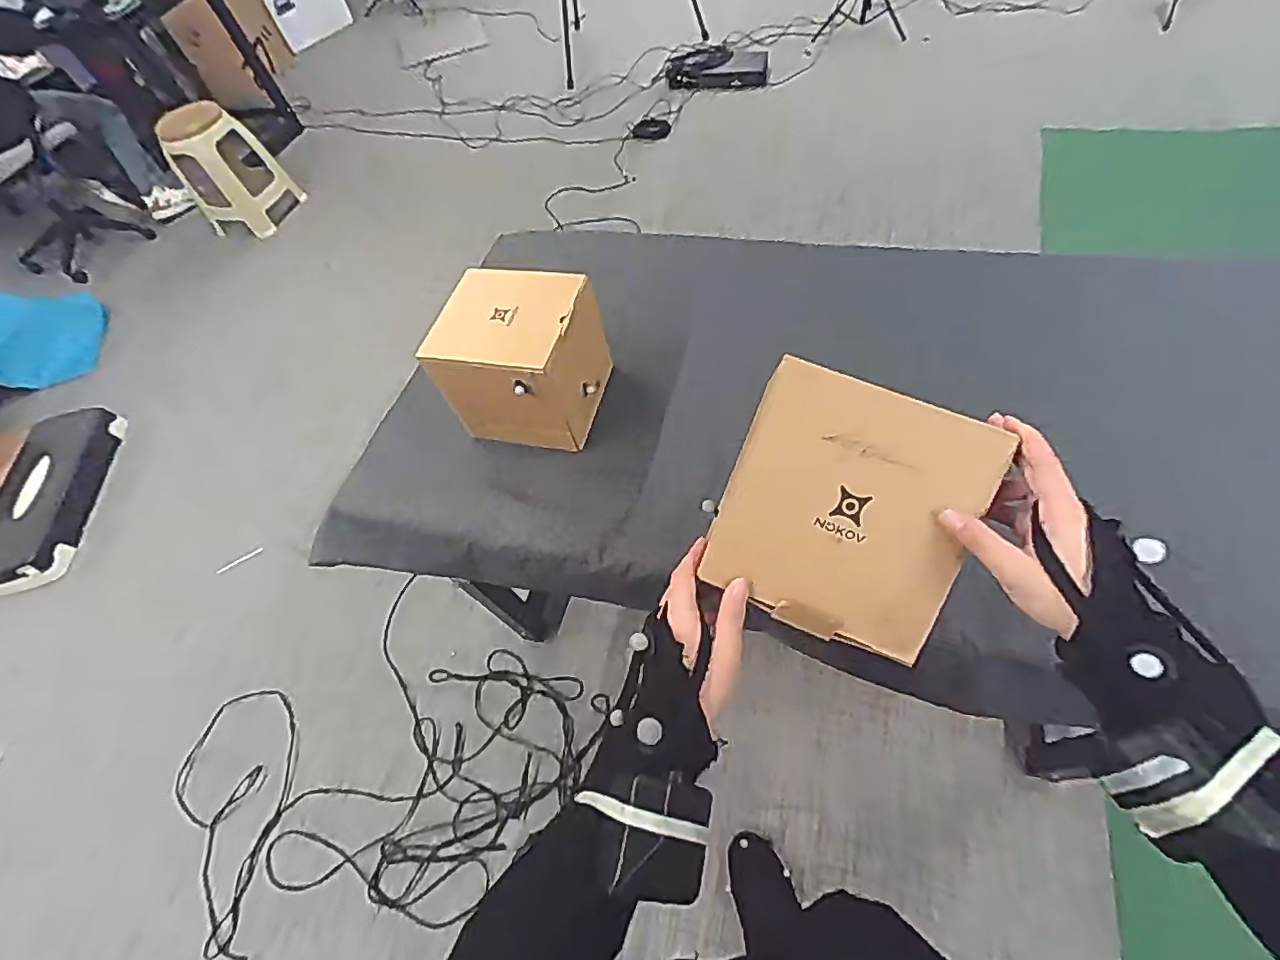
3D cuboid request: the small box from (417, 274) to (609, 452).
[{"bbox_3d":[-0.157,-0.155,0.736,0.179,0.176,0.168,8,60,14],"label":"small box"}]
